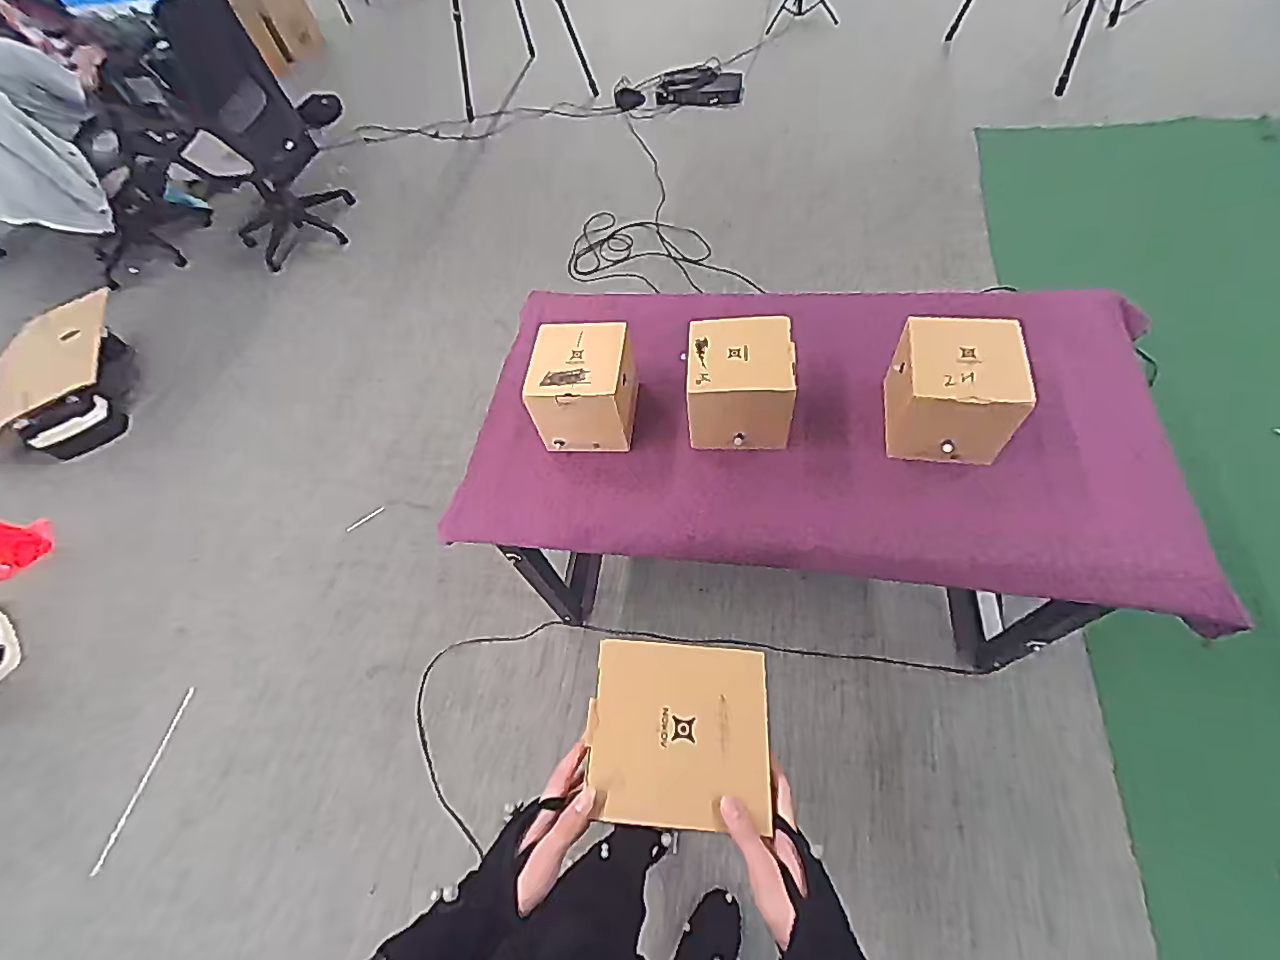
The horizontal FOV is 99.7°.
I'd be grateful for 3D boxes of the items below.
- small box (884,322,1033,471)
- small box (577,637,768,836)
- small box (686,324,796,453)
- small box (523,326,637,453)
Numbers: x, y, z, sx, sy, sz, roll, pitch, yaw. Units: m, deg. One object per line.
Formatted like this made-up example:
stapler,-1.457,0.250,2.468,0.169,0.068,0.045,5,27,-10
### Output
small box,0.516,-0.139,0.905,0.168,0.176,0.179,6,60,13
small box,0.035,0.285,0.593,0.179,0.176,0.168,5,57,2
small box,0.177,-0.159,0.971,0.179,0.176,0.168,1,59,9
small box,-0.102,-0.164,1.016,0.168,0.176,0.179,1,58,9
